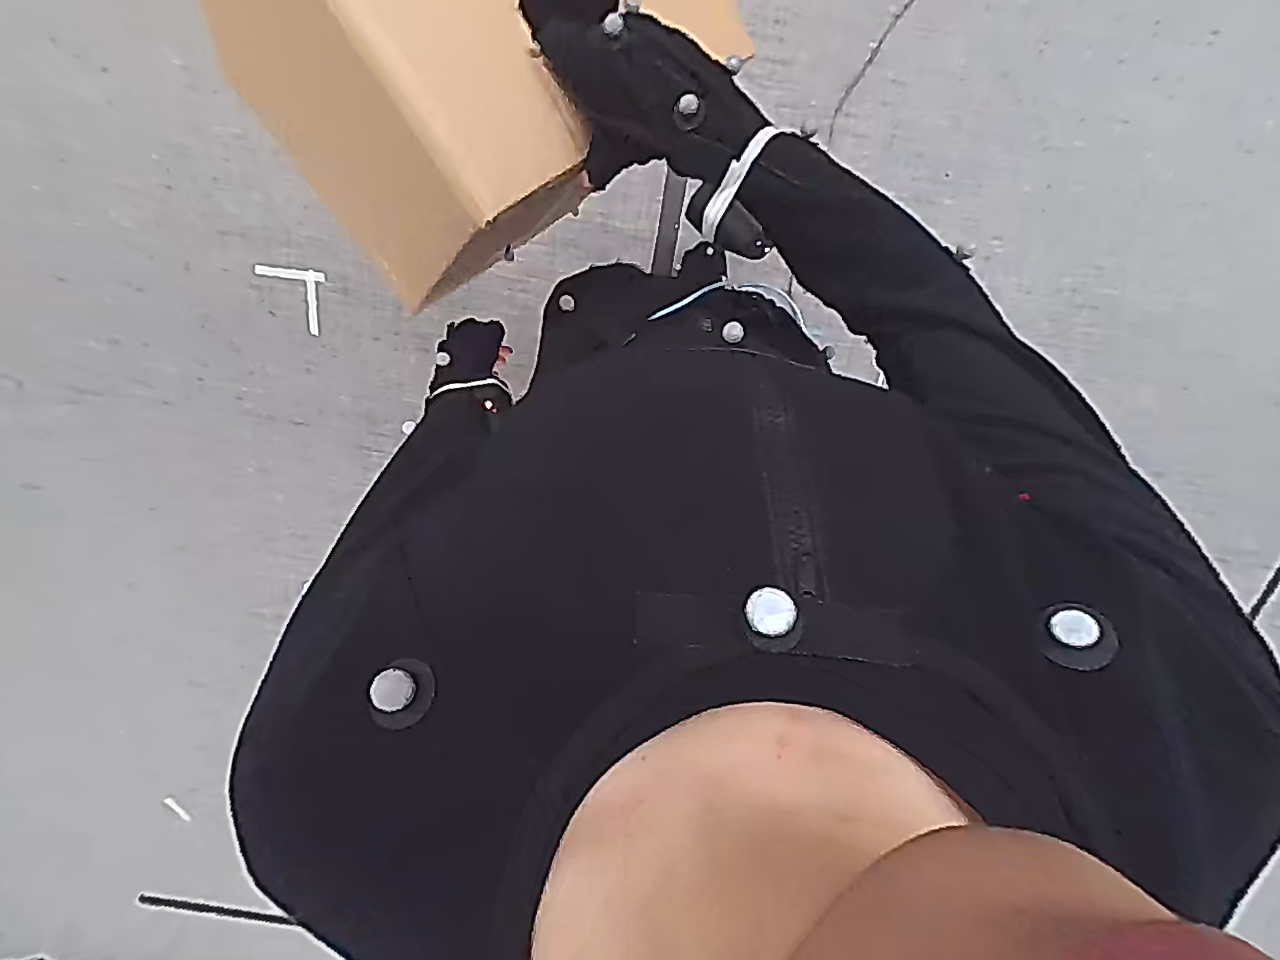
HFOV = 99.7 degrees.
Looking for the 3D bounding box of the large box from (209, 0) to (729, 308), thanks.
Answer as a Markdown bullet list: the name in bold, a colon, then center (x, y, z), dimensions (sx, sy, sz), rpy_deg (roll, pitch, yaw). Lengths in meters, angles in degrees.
- **large box**: center (-0.192, -0.424, 0.562), dimensions (0.320, 0.408, 0.320), rpy_deg (-43, 115, -18)
